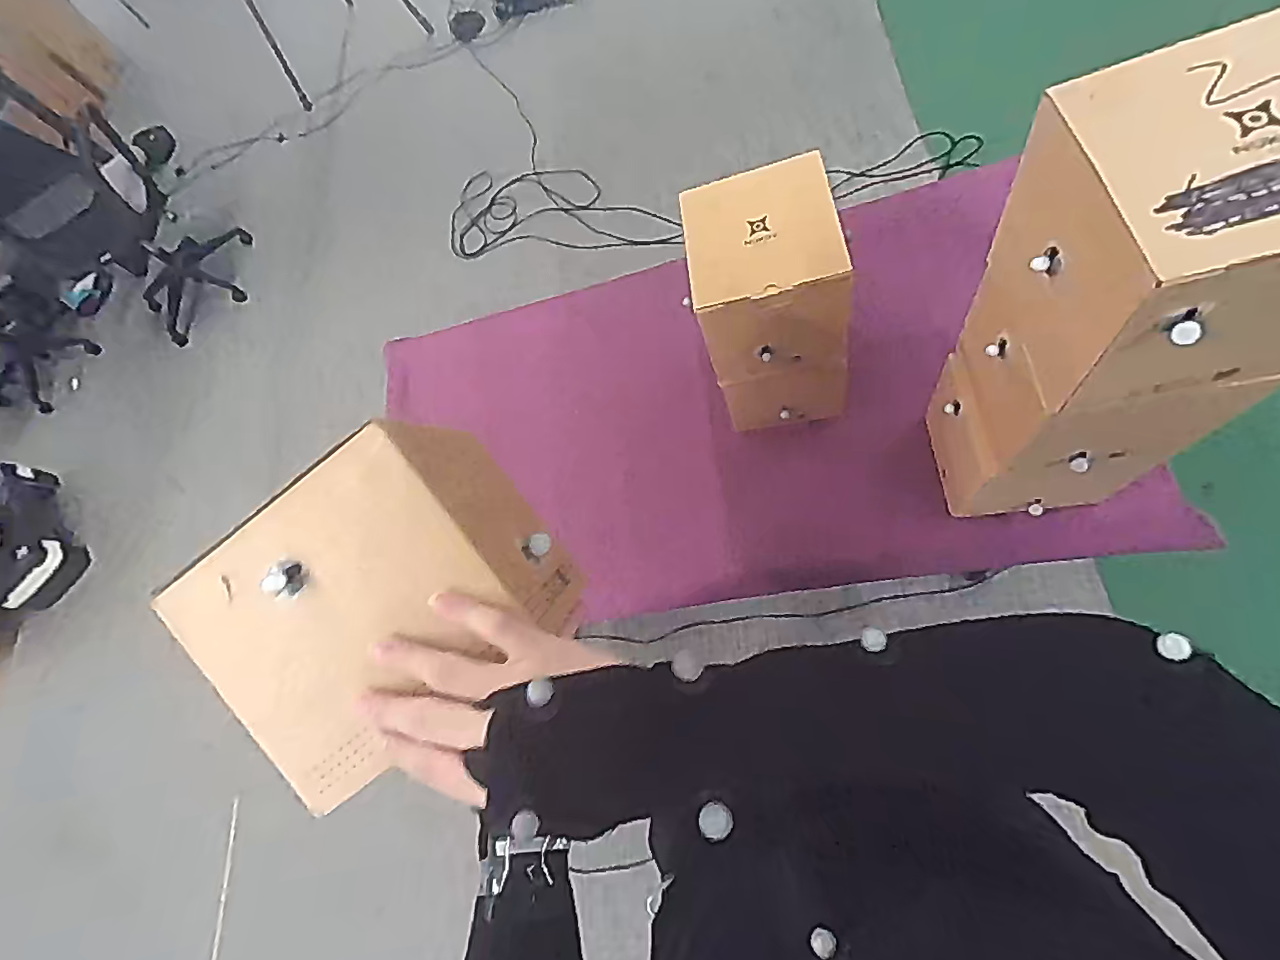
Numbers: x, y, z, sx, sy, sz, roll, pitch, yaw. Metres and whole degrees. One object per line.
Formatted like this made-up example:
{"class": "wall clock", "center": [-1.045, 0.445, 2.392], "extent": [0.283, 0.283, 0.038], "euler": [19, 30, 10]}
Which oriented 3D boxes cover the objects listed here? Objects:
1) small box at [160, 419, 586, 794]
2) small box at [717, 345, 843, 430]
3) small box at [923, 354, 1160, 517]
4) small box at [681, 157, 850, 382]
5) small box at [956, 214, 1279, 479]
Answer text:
{"class": "small box", "center": [-0.167, 0.078, 0.393], "extent": [0.179, 0.168, 0.176], "euler": [-37, 90, 5]}
{"class": "small box", "center": [0.204, -0.195, 0.817], "extent": [0.168, 0.176, 0.179], "euler": [-7, 69, 15]}
{"class": "small box", "center": [0.480, -0.059, 0.682], "extent": [0.179, 0.176, 0.168], "euler": [-8, 68, 15]}
{"class": "small box", "center": [0.152, -0.248, 0.672], "extent": [0.168, 0.176, 0.179], "euler": [-10, 69, 13]}
{"class": "small box", "center": [0.435, -0.117, 0.536], "extent": [0.168, 0.176, 0.179], "euler": [-8, 68, 16]}
